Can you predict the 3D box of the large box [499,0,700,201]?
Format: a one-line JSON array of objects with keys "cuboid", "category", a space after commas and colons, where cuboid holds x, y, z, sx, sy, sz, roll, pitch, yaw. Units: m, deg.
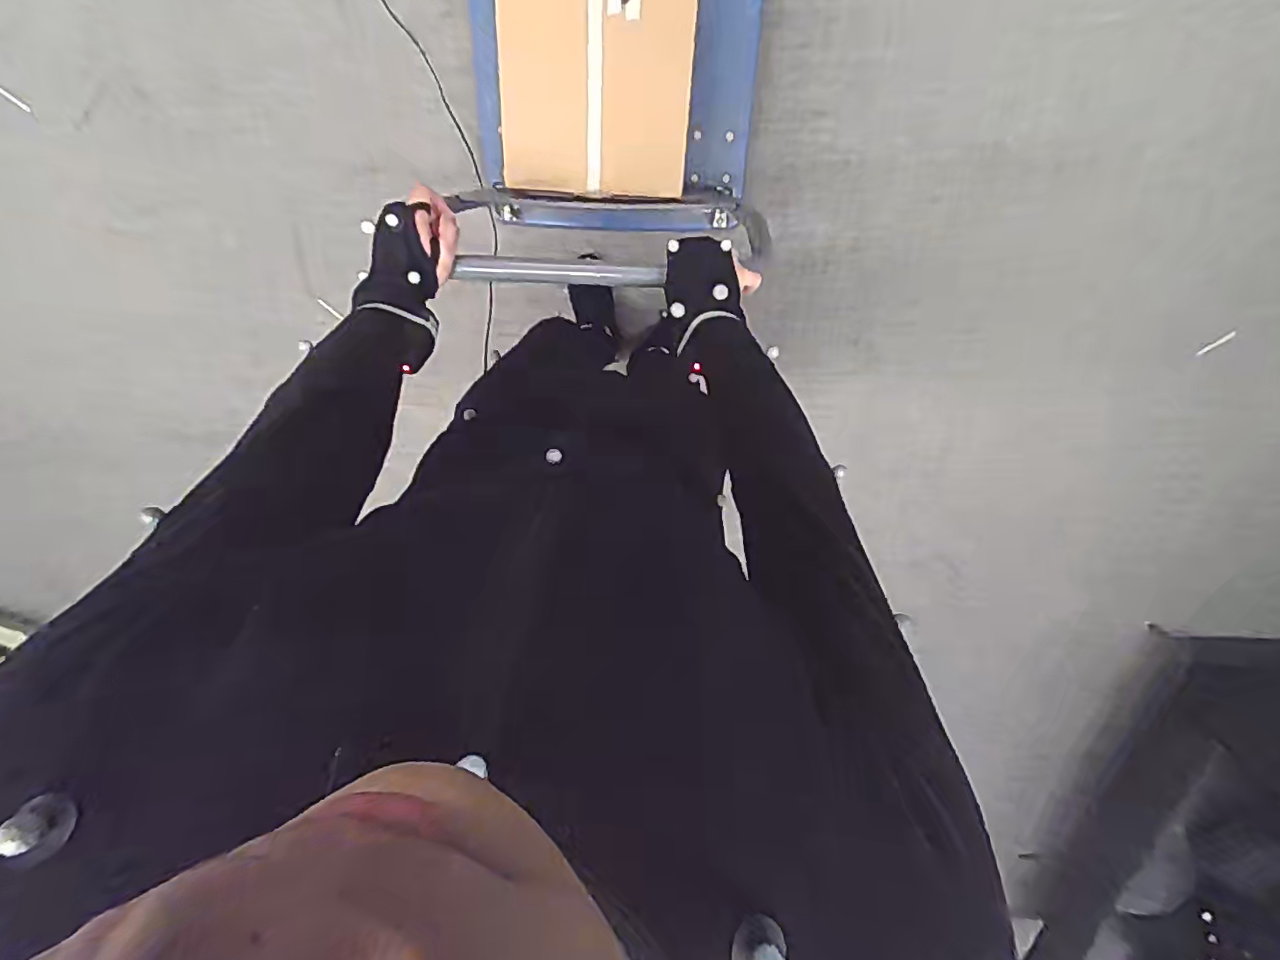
[{"cuboid": [-0.056, -0.740, 0.989, 0.320, 0.320, 0.408, 4, 116, 1], "category": "large box"}]
